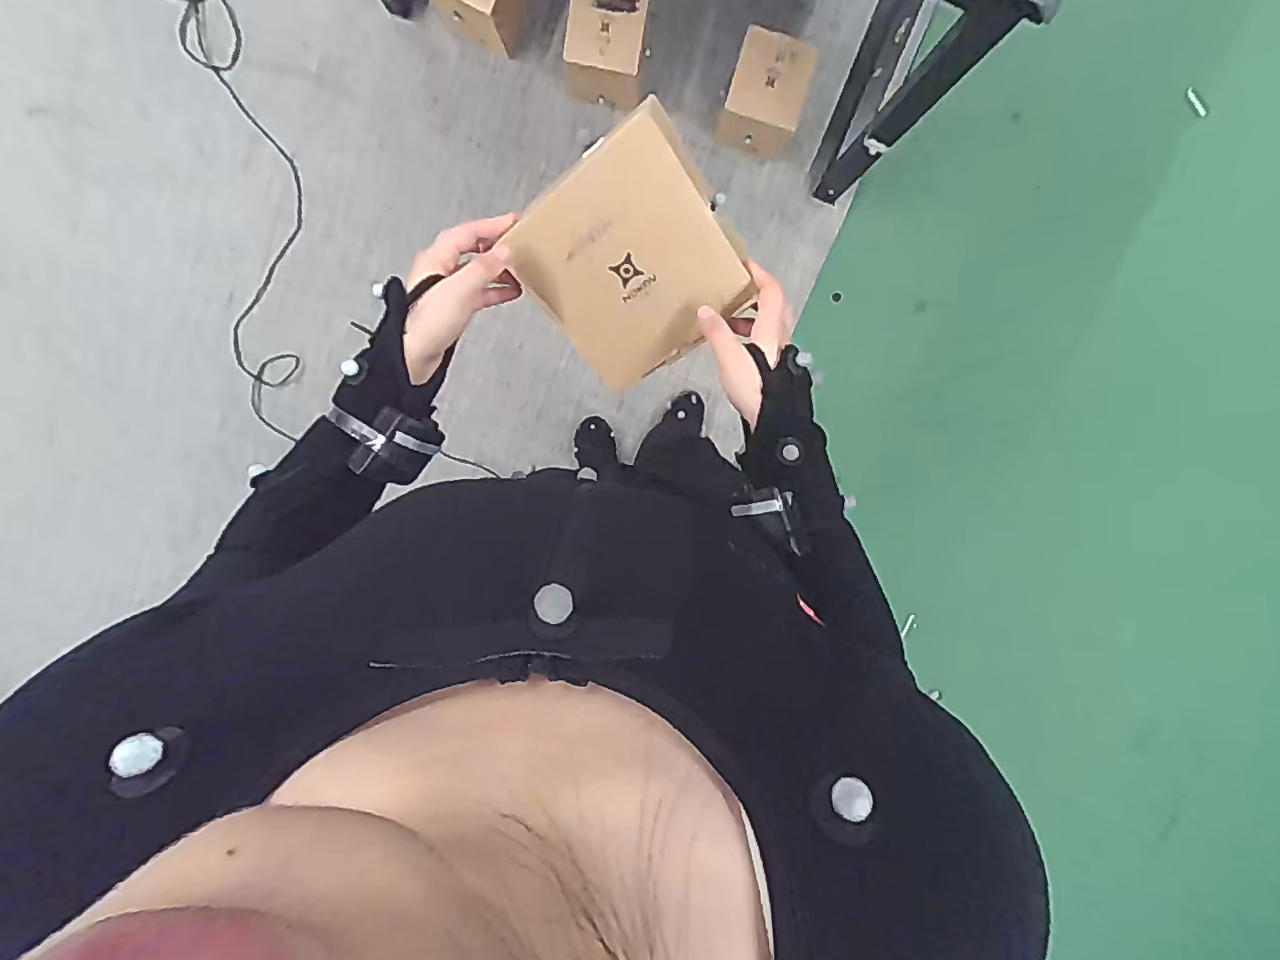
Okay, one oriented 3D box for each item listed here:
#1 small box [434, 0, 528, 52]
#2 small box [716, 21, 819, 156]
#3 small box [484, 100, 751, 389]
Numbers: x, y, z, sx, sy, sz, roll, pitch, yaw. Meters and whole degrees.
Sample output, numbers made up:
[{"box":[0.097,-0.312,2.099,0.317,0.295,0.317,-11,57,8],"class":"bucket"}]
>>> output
[{"box":[-0.357,-1.113,1.199,0.168,0.176,0.179,26,99,-4],"class":"small box"},{"box":[0.280,-0.881,1.238,0.168,0.176,0.179,17,100,-4],"class":"small box"},{"box":[-0.012,-0.228,0.522,0.168,0.176,0.179,-30,121,24],"class":"small box"}]
